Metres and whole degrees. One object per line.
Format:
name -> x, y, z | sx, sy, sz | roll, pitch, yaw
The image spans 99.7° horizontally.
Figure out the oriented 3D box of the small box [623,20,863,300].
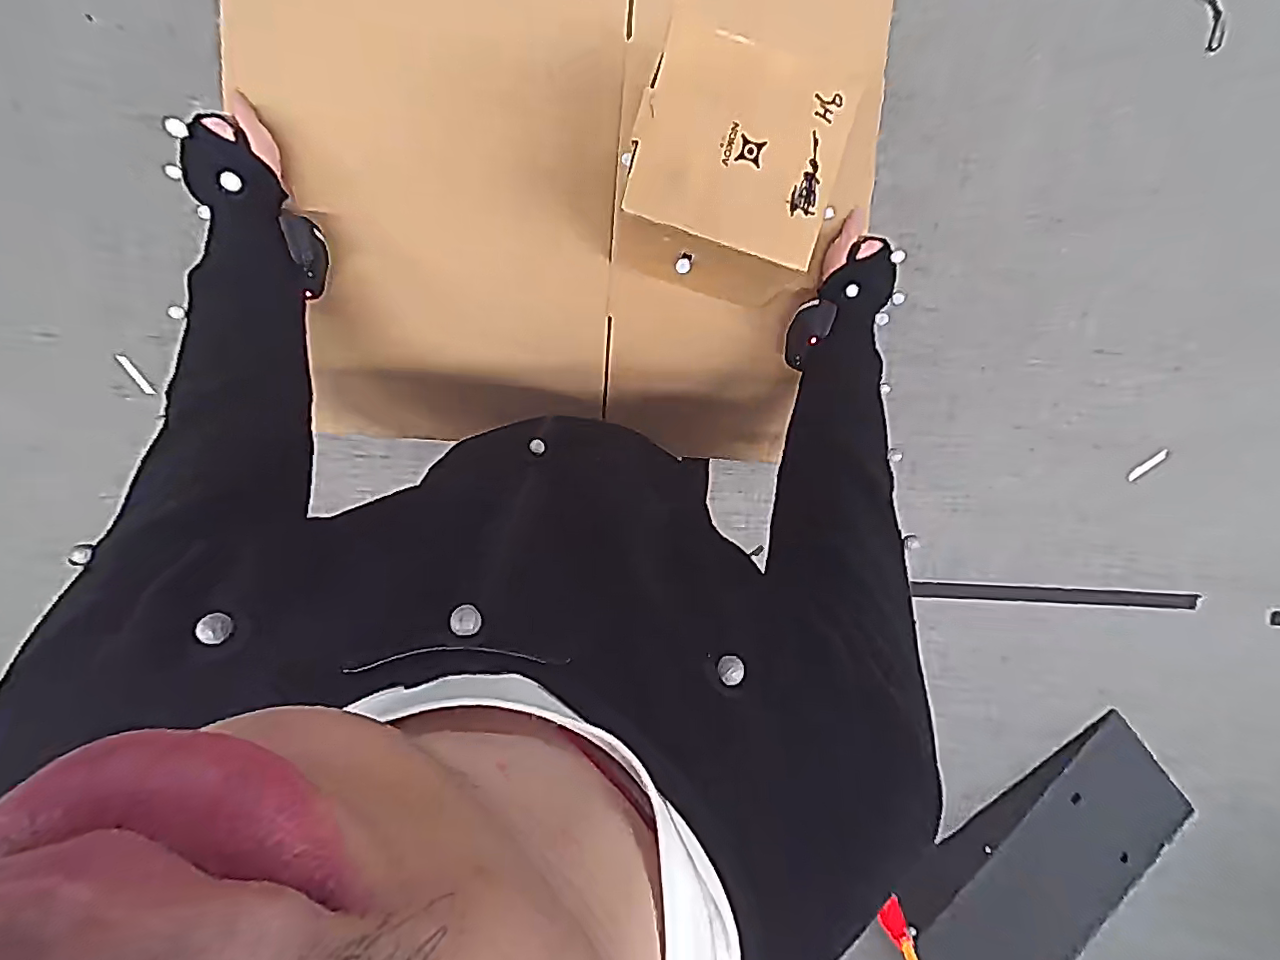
small box -> 0.086, -0.299, 0.551 | 0.179, 0.176, 0.168 | 16, 95, -4
